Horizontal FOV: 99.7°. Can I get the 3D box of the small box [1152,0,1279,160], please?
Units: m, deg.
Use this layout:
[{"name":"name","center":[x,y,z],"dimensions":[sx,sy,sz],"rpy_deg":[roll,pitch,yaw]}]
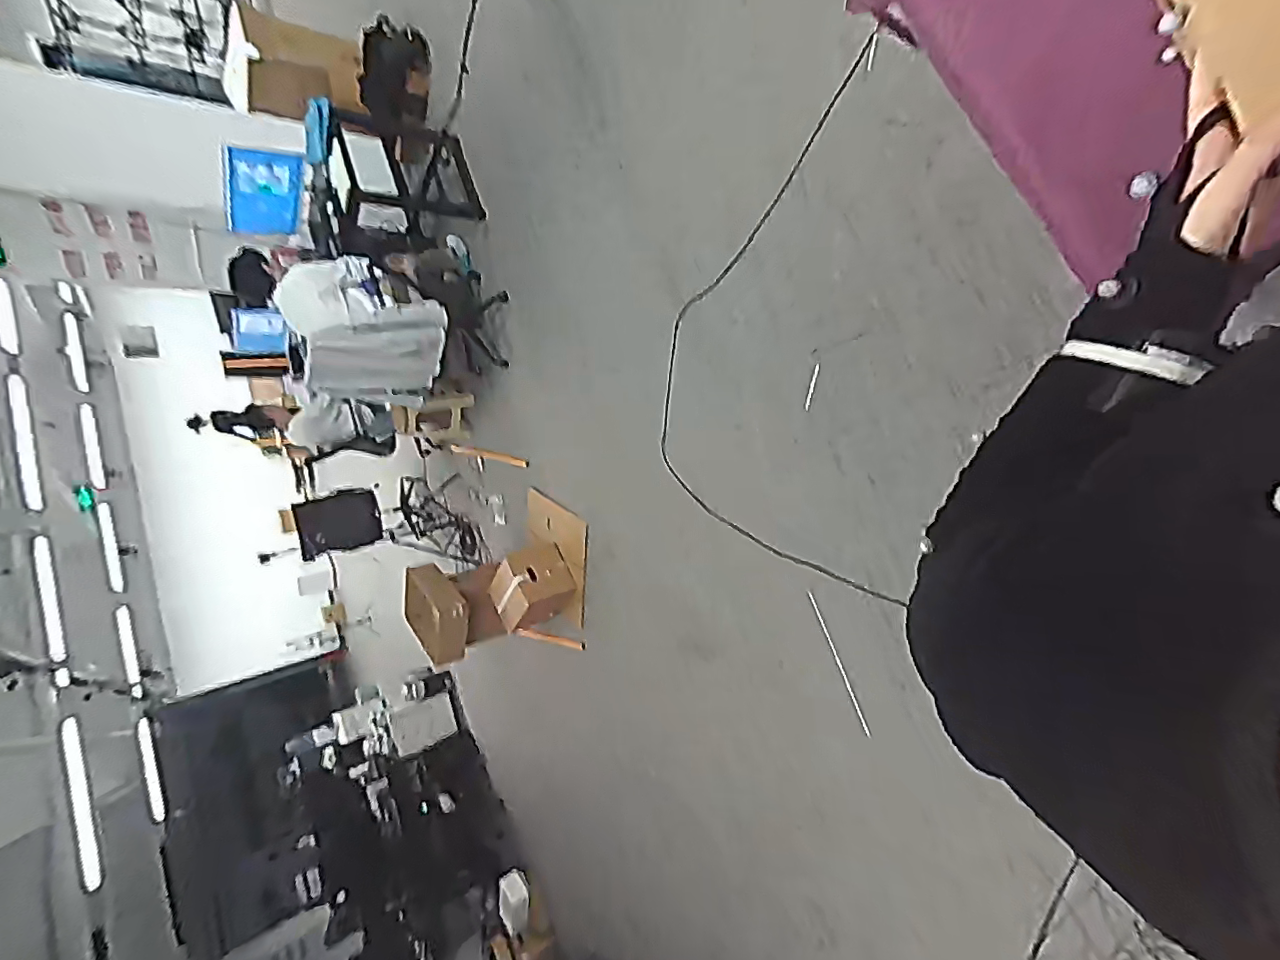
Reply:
[{"name":"small box","center":[0.530,-0.381,0.404],"dimensions":[0.179,0.176,0.168],"rpy_deg":[-30,75,49]}]
